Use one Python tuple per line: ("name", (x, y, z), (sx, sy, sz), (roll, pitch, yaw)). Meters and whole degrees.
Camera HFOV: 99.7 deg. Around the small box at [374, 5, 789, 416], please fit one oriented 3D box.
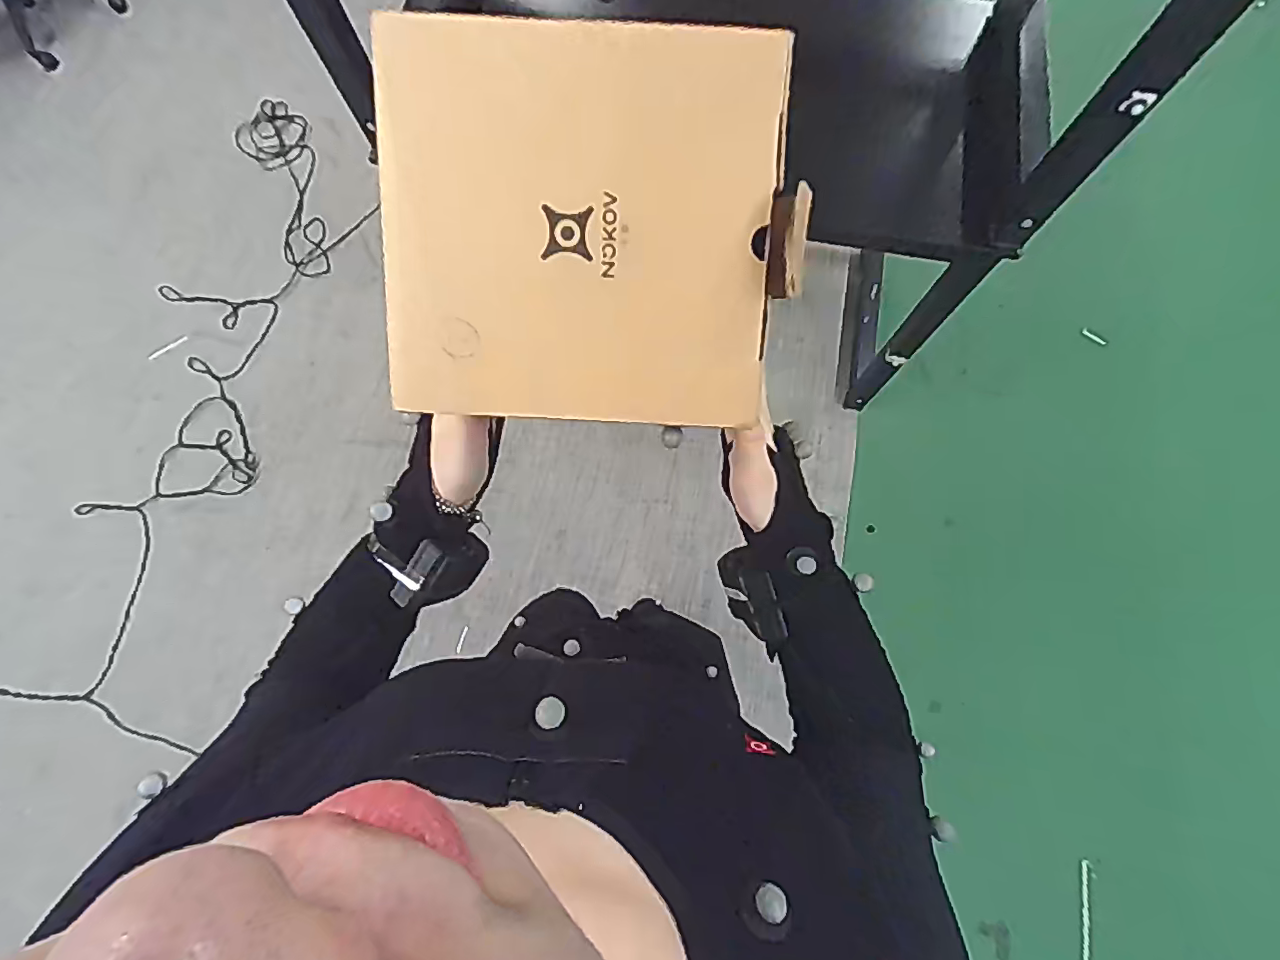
("small box", (-0.027, -0.129, 0.318), (0.179, 0.176, 0.168), (2, 102, 0))
